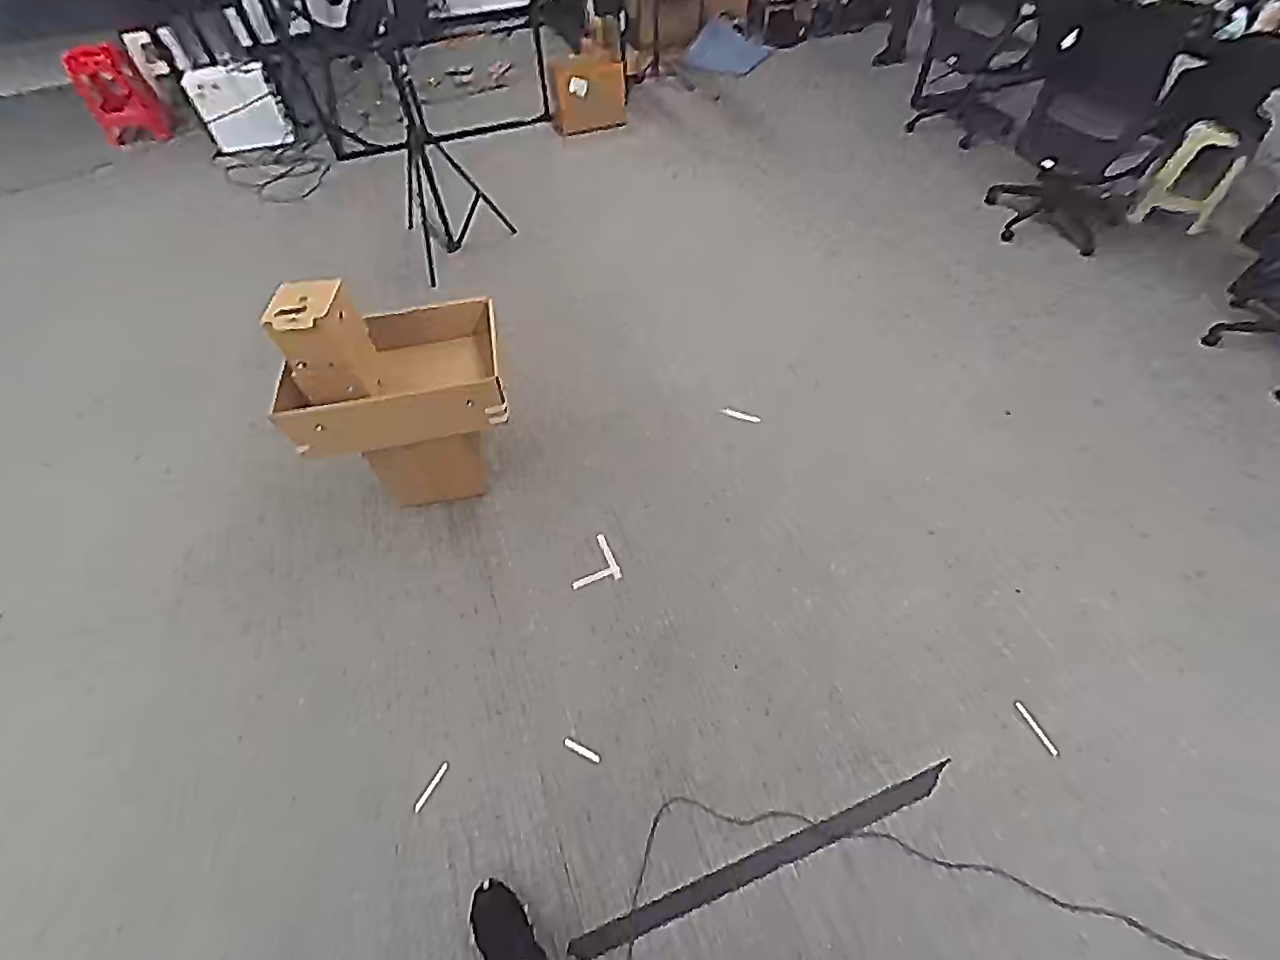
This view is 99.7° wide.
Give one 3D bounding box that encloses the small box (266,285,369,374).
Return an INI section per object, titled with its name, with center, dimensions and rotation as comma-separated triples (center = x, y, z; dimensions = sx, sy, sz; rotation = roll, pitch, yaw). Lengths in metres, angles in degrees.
[small box]
center = -0.870, -0.405, 1.480
dimensions = 0.168, 0.176, 0.179
rotation = -5, 52, -1
